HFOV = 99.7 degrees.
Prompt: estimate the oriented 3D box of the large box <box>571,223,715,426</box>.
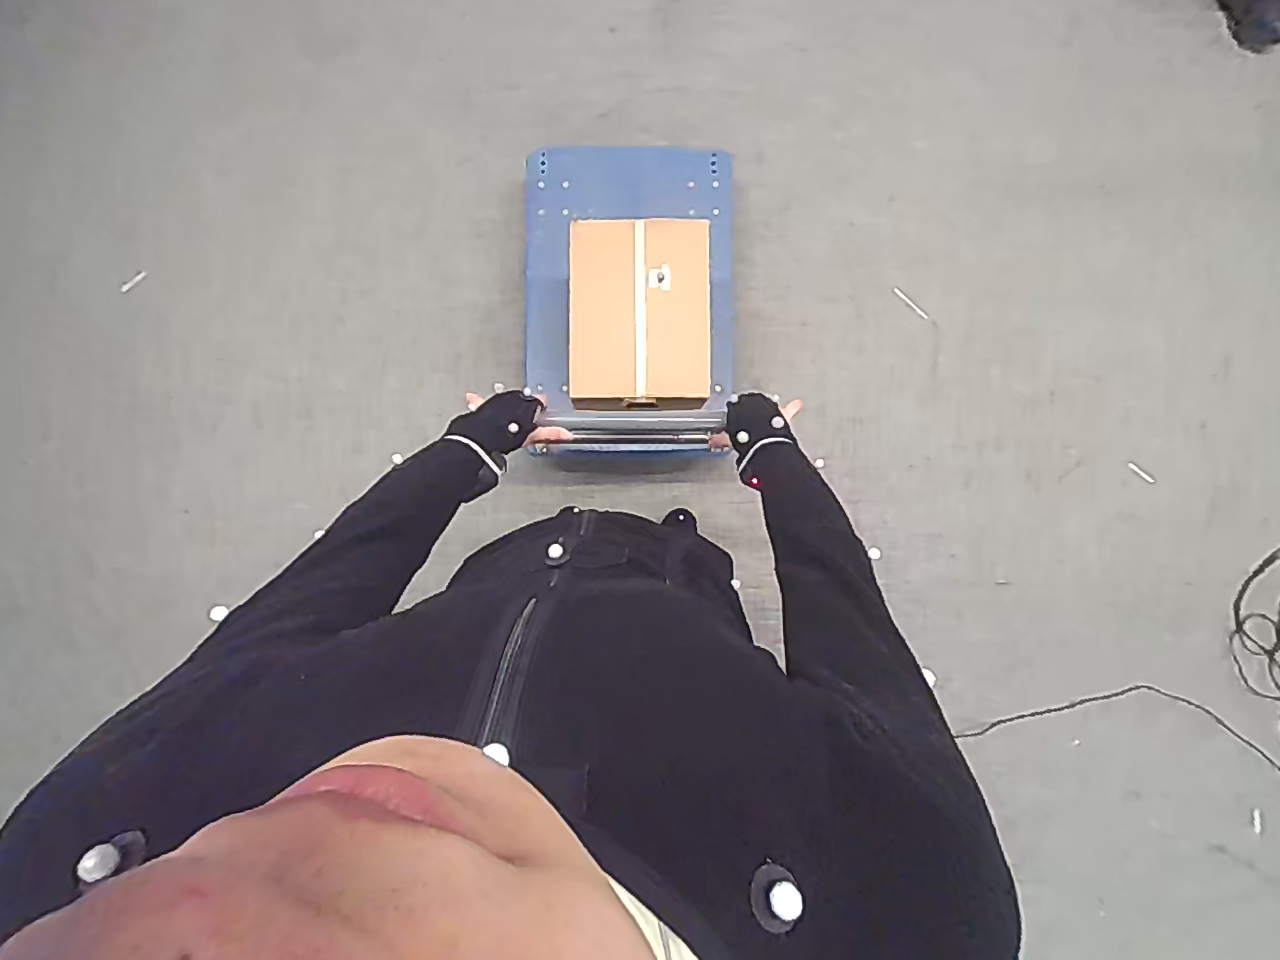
[{"bbox_3d":[0.005,-0.358,1.331,0.320,0.320,0.408,0,86,-1],"label":"large box"}]
